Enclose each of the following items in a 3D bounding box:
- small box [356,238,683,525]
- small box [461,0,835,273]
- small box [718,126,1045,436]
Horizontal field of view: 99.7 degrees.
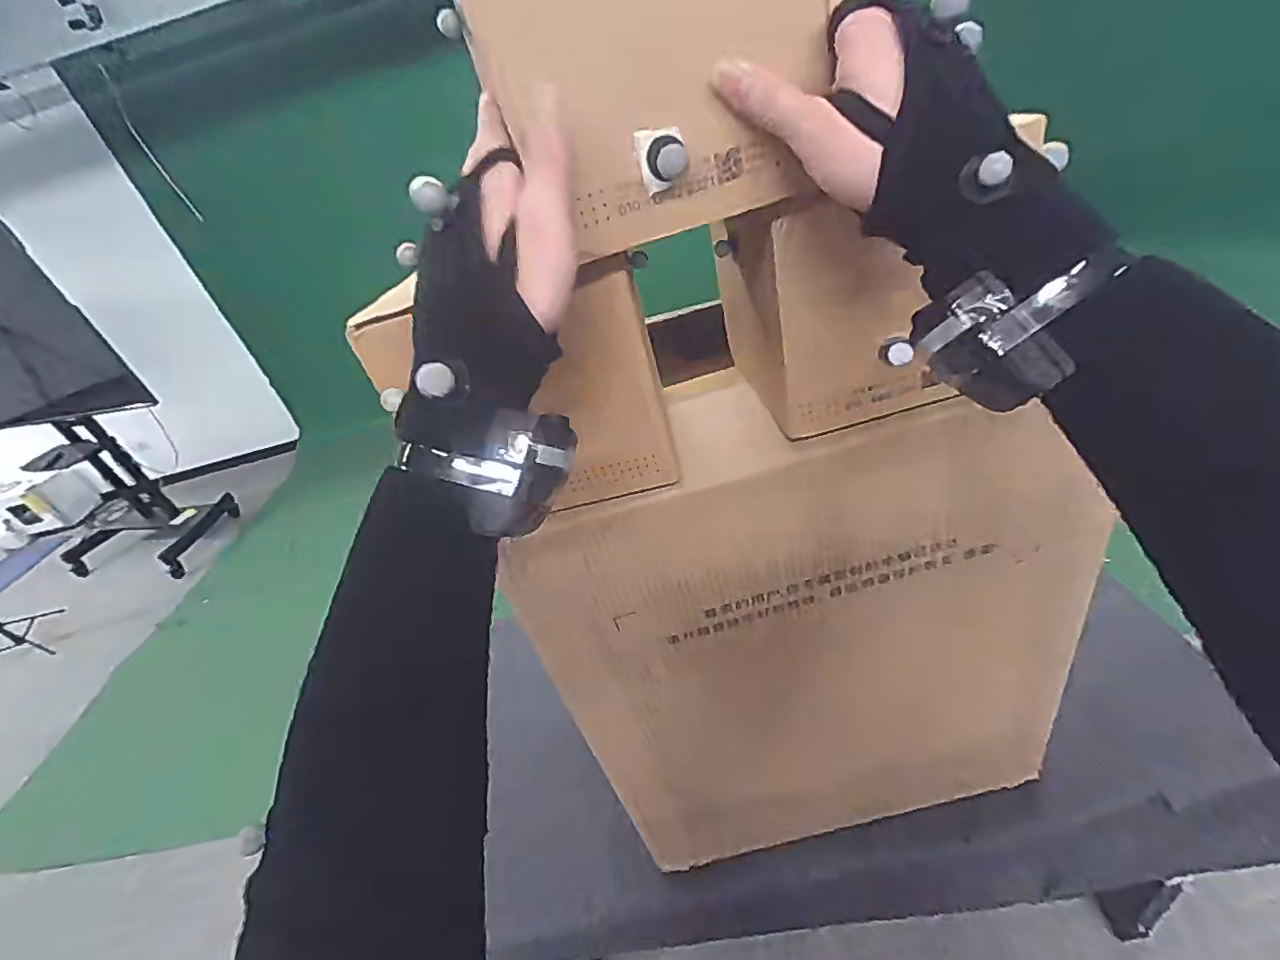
[{"bbox_3d":[-0.074,-0.085,0.429,0.179,0.176,0.168,-13,34,5],"label":"small box"},{"bbox_3d":[-0.003,-0.240,0.325,0.168,0.176,0.179,-21,34,-4],"label":"small box"},{"bbox_3d":[0.163,-0.158,0.425,0.168,0.176,0.179,-16,34,2],"label":"small box"}]
